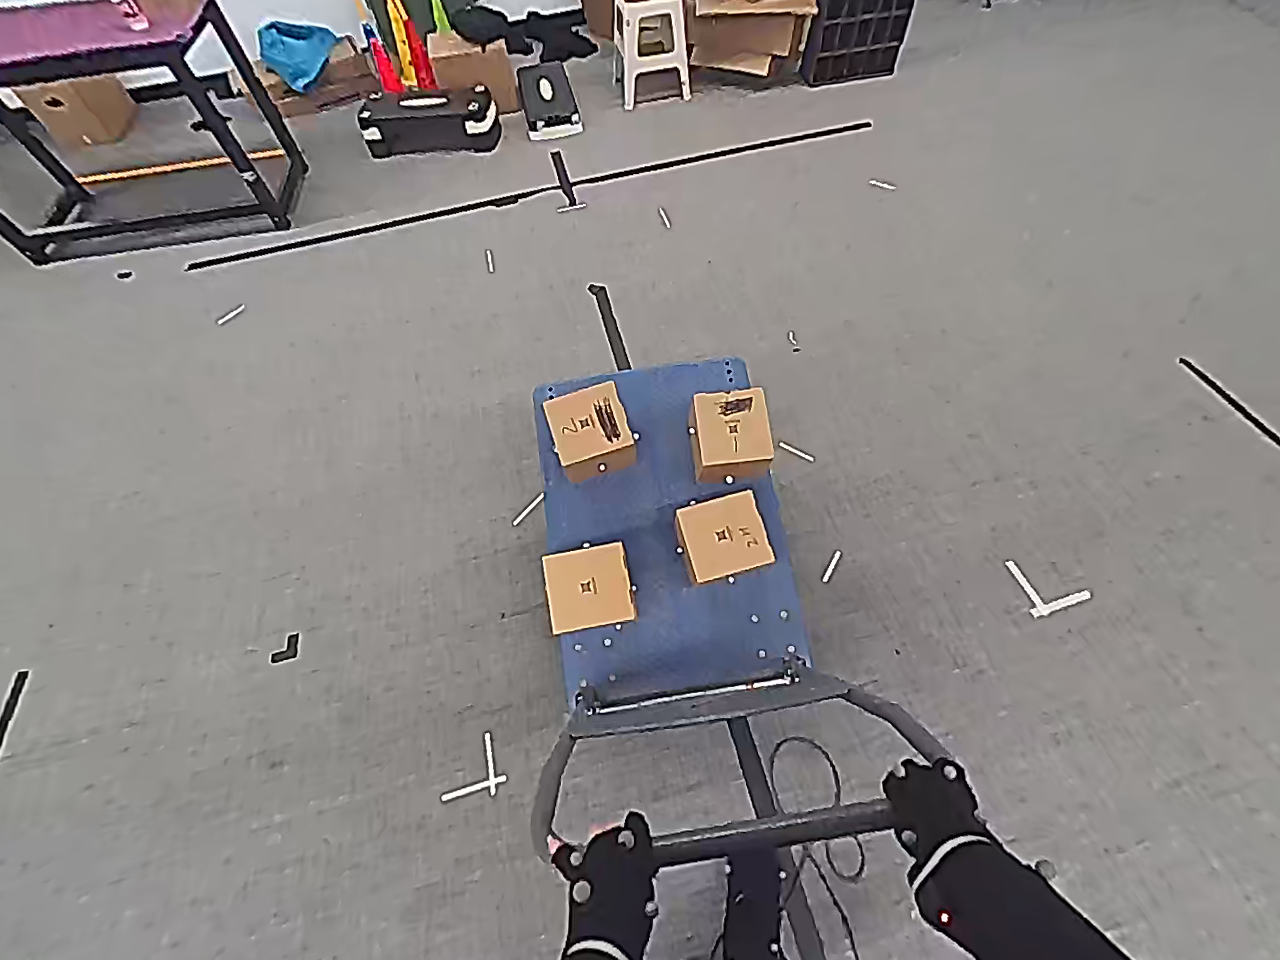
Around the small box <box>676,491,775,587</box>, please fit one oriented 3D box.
[{"bbox_3d":[0.187,0.141,1.237,0.179,0.176,0.168,-15,75,-2],"label":"small box"}]

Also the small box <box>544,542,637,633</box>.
[{"bbox_3d":[-0.106,0.248,1.217,0.179,0.176,0.168,-11,75,-3],"label":"small box"}]

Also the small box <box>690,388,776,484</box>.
[{"bbox_3d":[0.216,-0.101,1.301,0.168,0.176,0.179,-6,76,0],"label":"small box"}]
